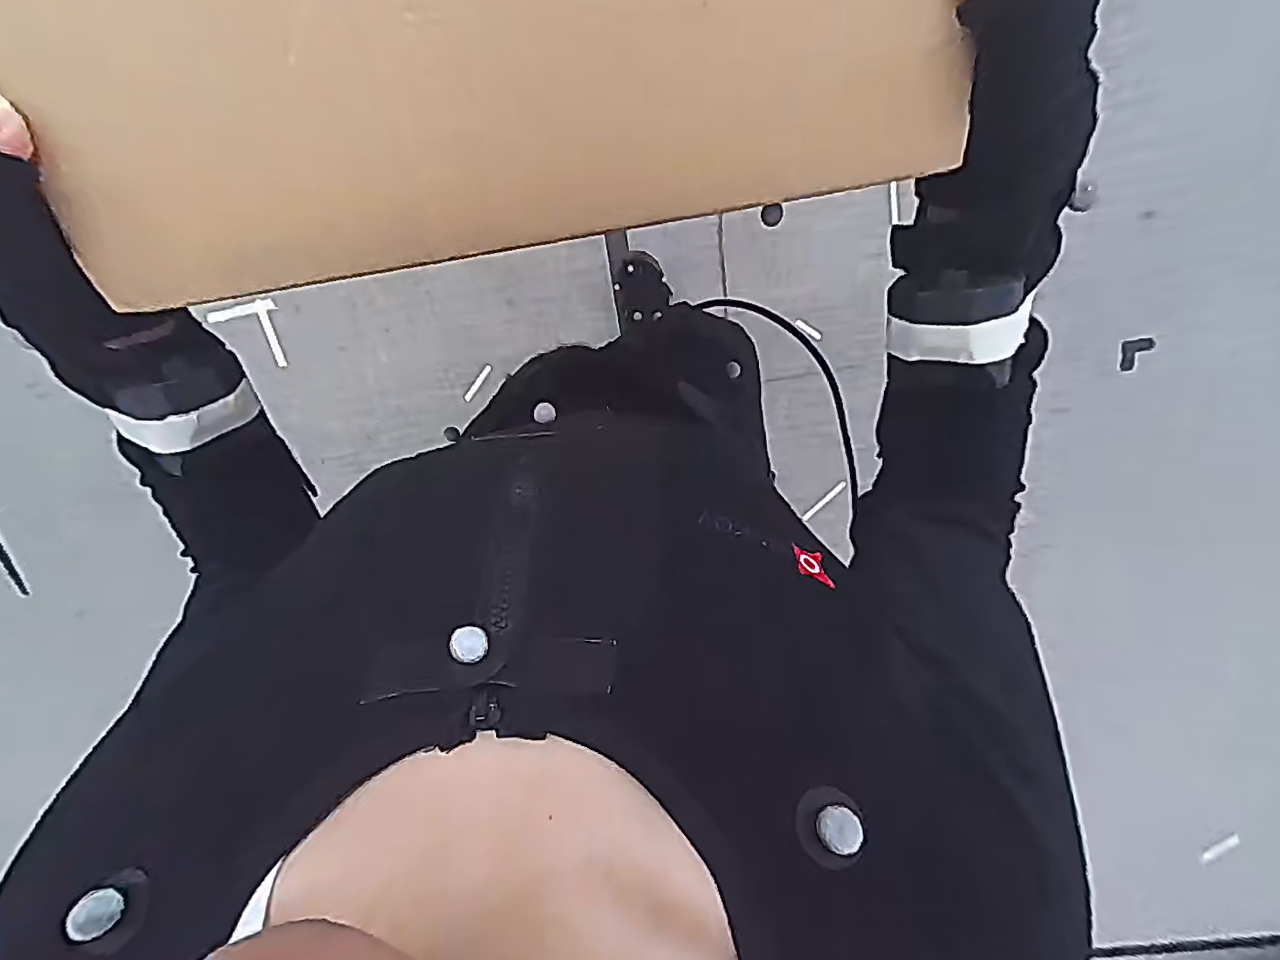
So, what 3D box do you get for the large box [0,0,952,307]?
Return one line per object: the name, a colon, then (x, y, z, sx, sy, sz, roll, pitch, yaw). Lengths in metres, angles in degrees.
large box: (-0.086, -0.325, 0.309, 0.408, 0.320, 0.320, -8, 120, 5)
